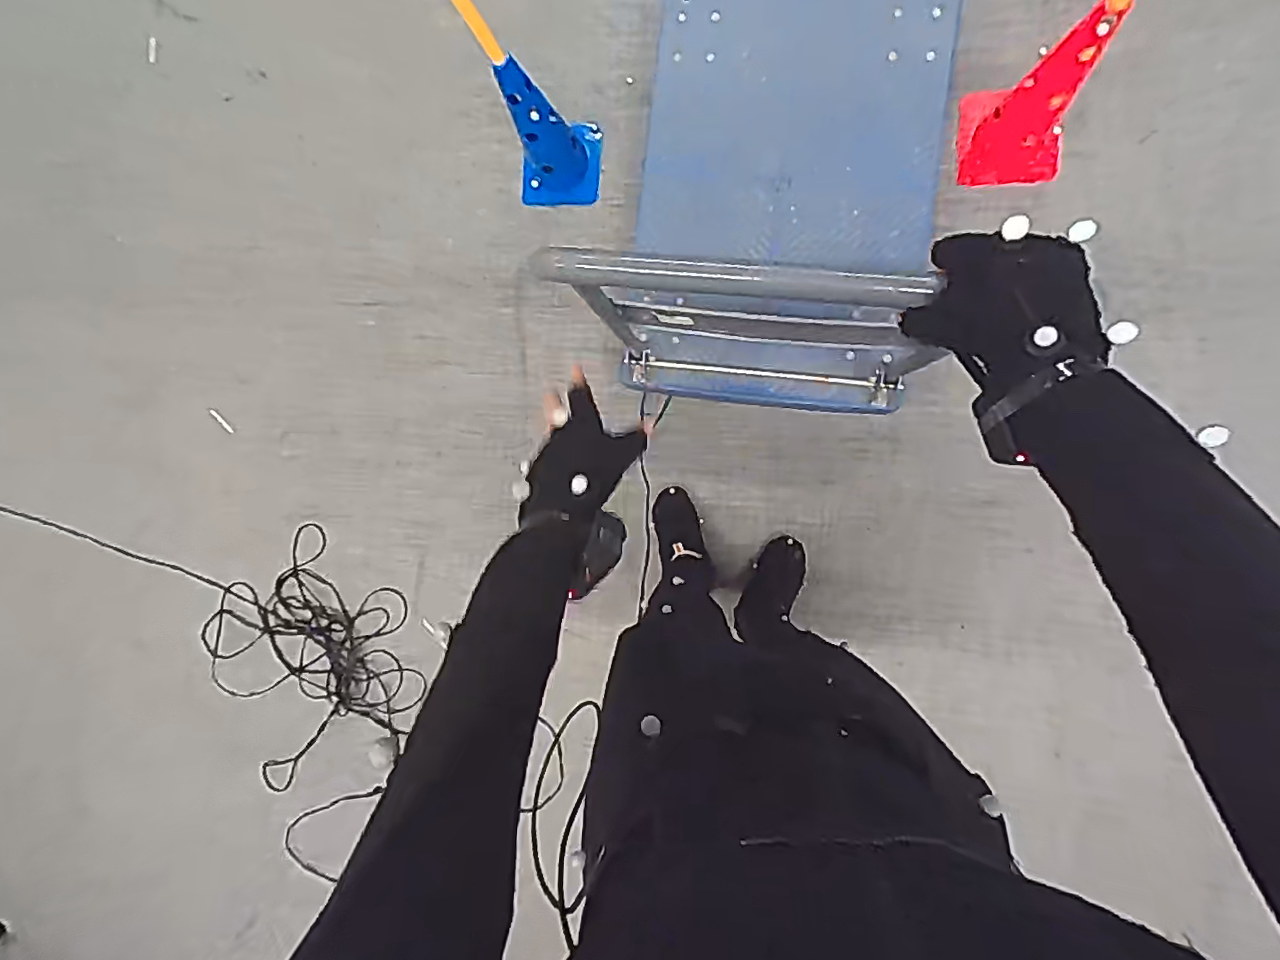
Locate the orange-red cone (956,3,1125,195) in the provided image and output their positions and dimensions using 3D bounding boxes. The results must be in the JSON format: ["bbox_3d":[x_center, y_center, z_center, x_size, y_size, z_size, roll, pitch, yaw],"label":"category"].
[{"bbox_3d":[0.766,-0.723,1.012,0.199,0.360,0.198,4,91,12],"label":"orange-red cone"}]
